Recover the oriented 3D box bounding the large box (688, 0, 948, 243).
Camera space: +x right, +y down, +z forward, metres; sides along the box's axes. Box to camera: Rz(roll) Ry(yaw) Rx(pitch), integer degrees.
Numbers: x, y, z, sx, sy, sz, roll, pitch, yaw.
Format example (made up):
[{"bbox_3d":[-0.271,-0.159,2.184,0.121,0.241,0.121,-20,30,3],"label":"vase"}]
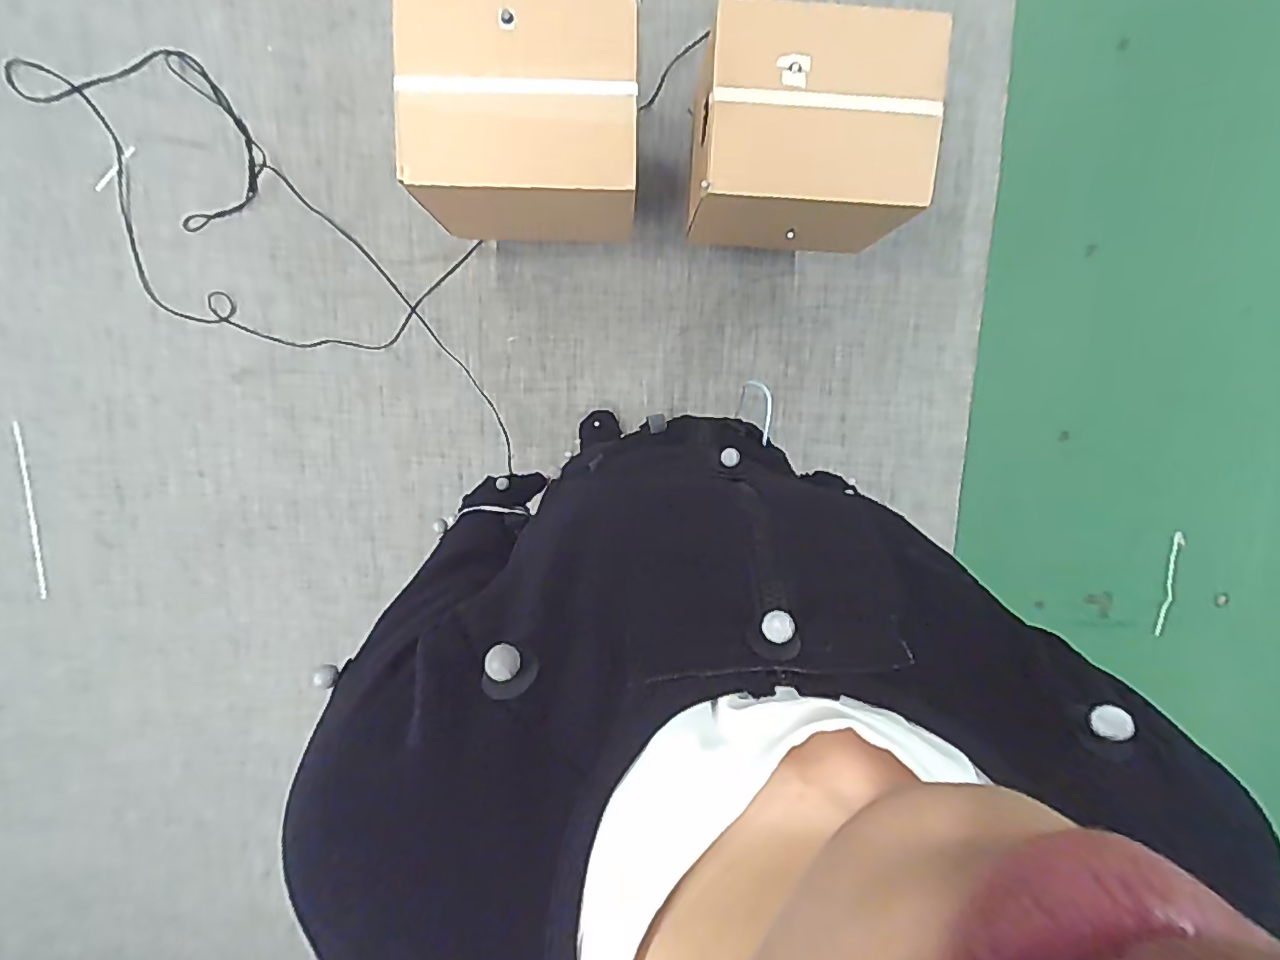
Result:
[{"bbox_3d":[0.321,-0.682,1.088,0.408,0.320,0.320,3,98,-2],"label":"large box"}]
